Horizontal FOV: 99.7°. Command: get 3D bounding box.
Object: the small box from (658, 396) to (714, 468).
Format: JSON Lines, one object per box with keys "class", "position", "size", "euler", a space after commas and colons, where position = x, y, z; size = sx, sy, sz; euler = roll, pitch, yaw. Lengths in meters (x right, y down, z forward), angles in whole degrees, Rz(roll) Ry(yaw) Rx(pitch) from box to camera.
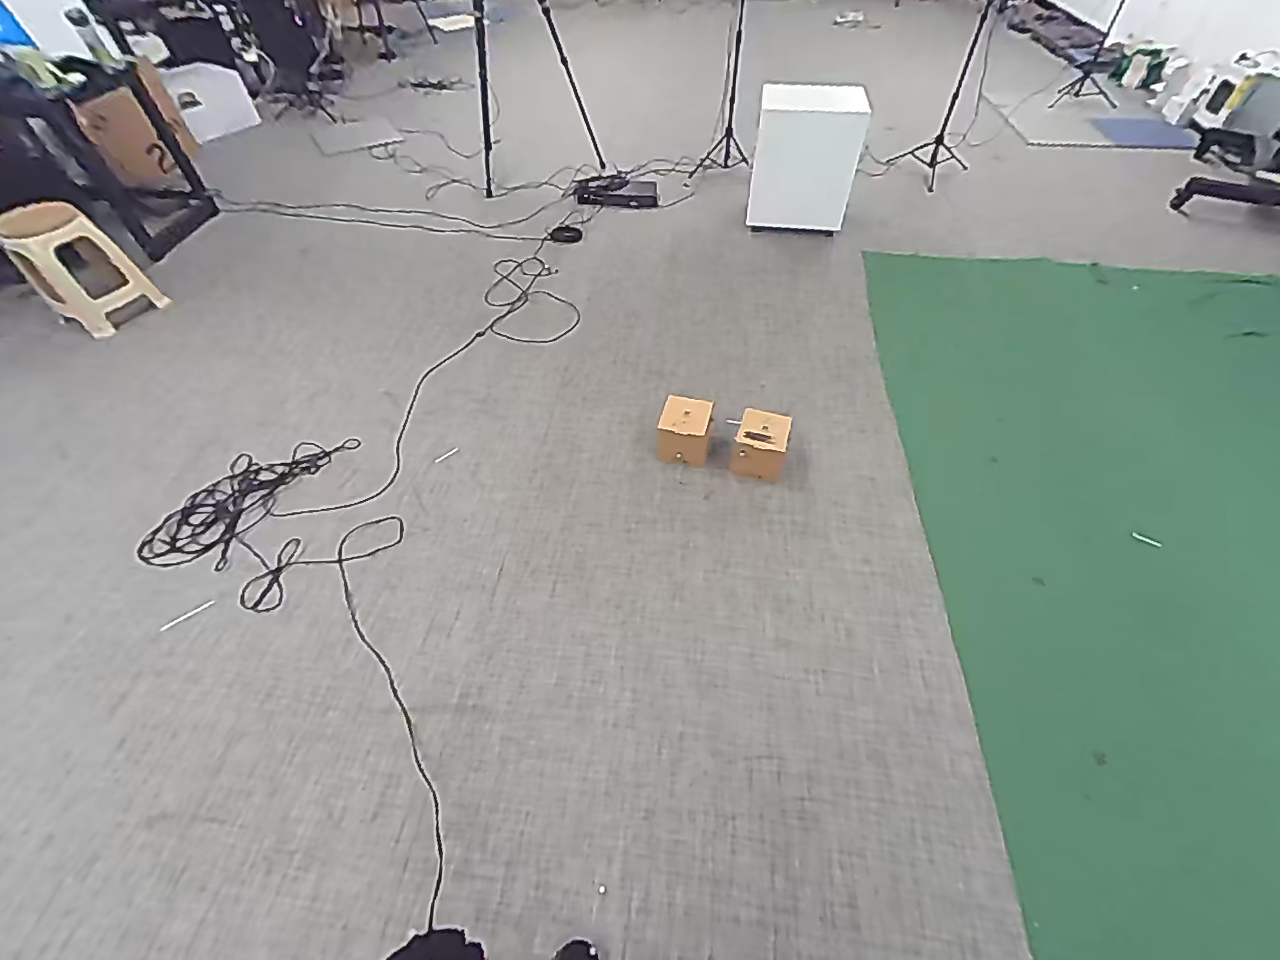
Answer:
{"class": "small box", "position": [0.162, -0.172, 1.941], "size": [0.168, 0.176, 0.179], "euler": [11, 52, 11]}
